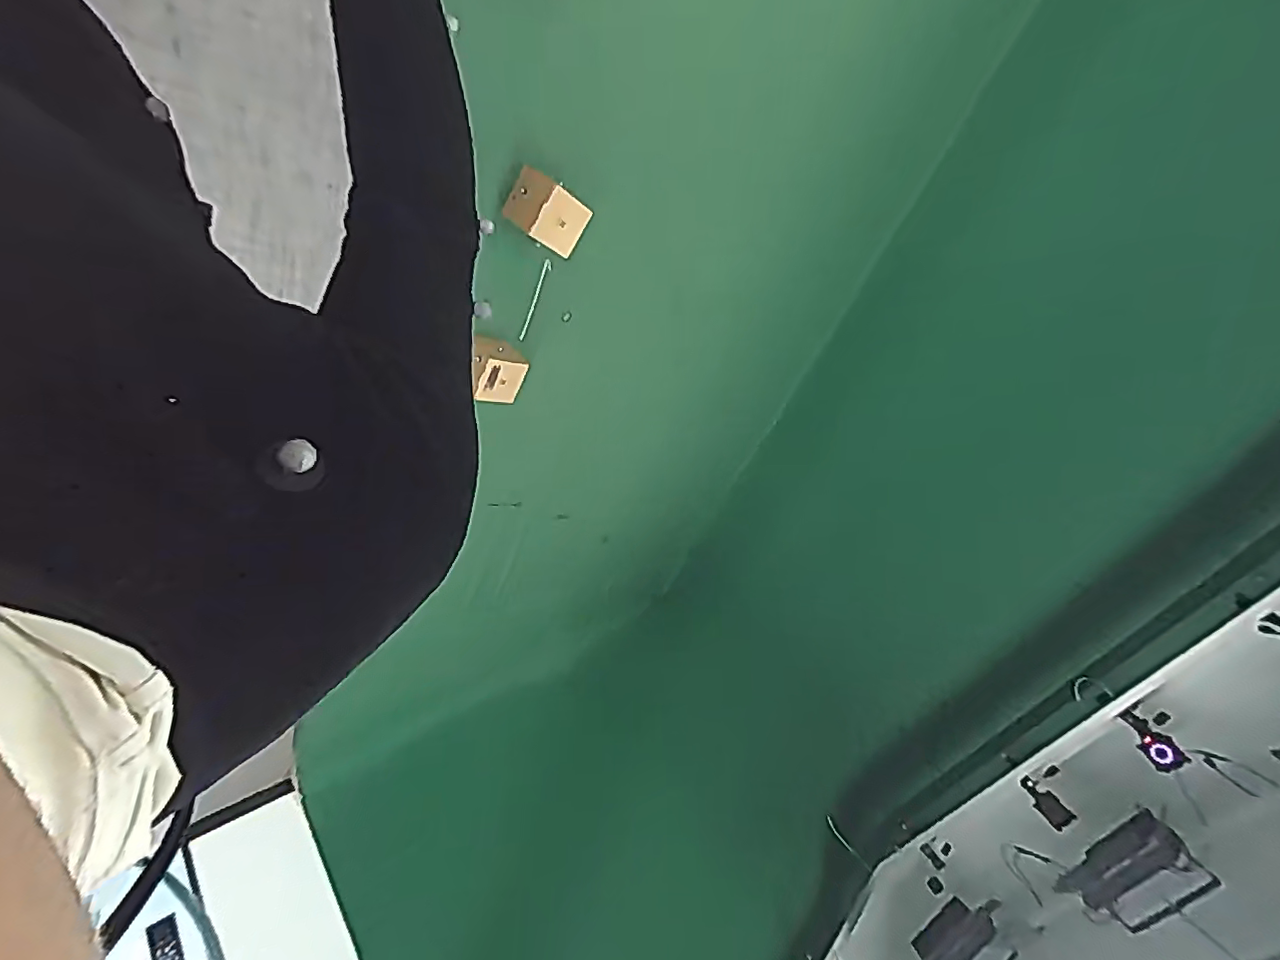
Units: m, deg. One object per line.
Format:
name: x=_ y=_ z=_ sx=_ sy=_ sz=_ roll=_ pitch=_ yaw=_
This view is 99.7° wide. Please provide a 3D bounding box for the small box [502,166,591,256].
small box: x=-0.294 y=-0.846 z=1.696 sx=0.179 sy=0.176 sz=0.168 roll=9 pitch=121 yaw=-56
